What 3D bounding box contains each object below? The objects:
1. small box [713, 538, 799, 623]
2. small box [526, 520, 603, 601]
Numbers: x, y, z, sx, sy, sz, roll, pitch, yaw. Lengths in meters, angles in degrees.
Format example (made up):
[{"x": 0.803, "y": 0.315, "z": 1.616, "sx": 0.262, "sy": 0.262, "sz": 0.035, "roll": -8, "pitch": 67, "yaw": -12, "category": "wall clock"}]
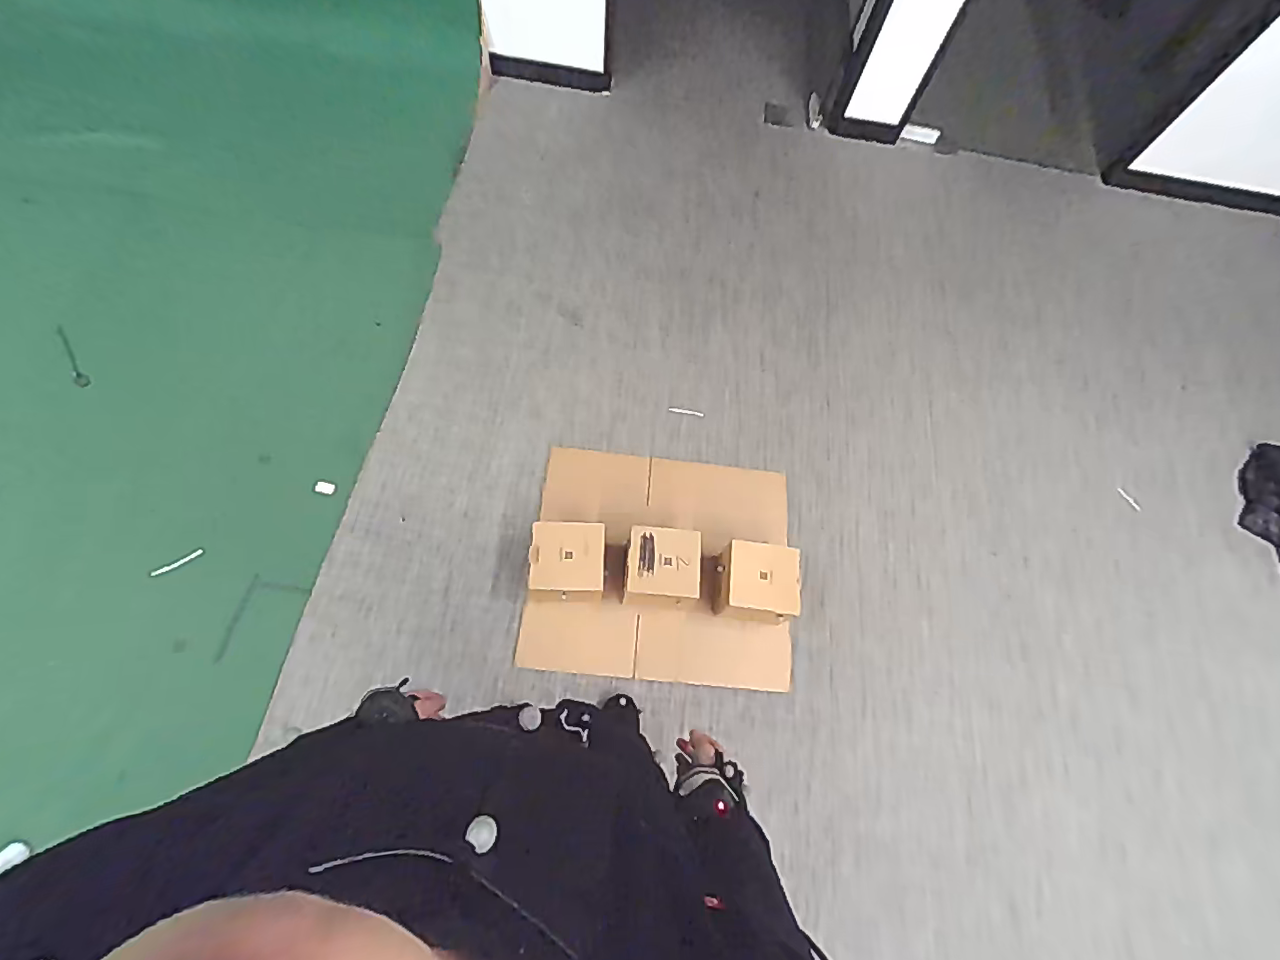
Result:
[{"x": 0.289, "y": 0.260, "z": 1.369, "sx": 0.179, "sy": 0.176, "sz": 0.168, "roll": 8, "pitch": 66, "yaw": -3, "category": "small box"}, {"x": -0.183, "y": 0.204, "z": 1.343, "sx": 0.179, "sy": 0.176, "sz": 0.168, "roll": 2, "pitch": 68, "yaw": -6, "category": "small box"}]
